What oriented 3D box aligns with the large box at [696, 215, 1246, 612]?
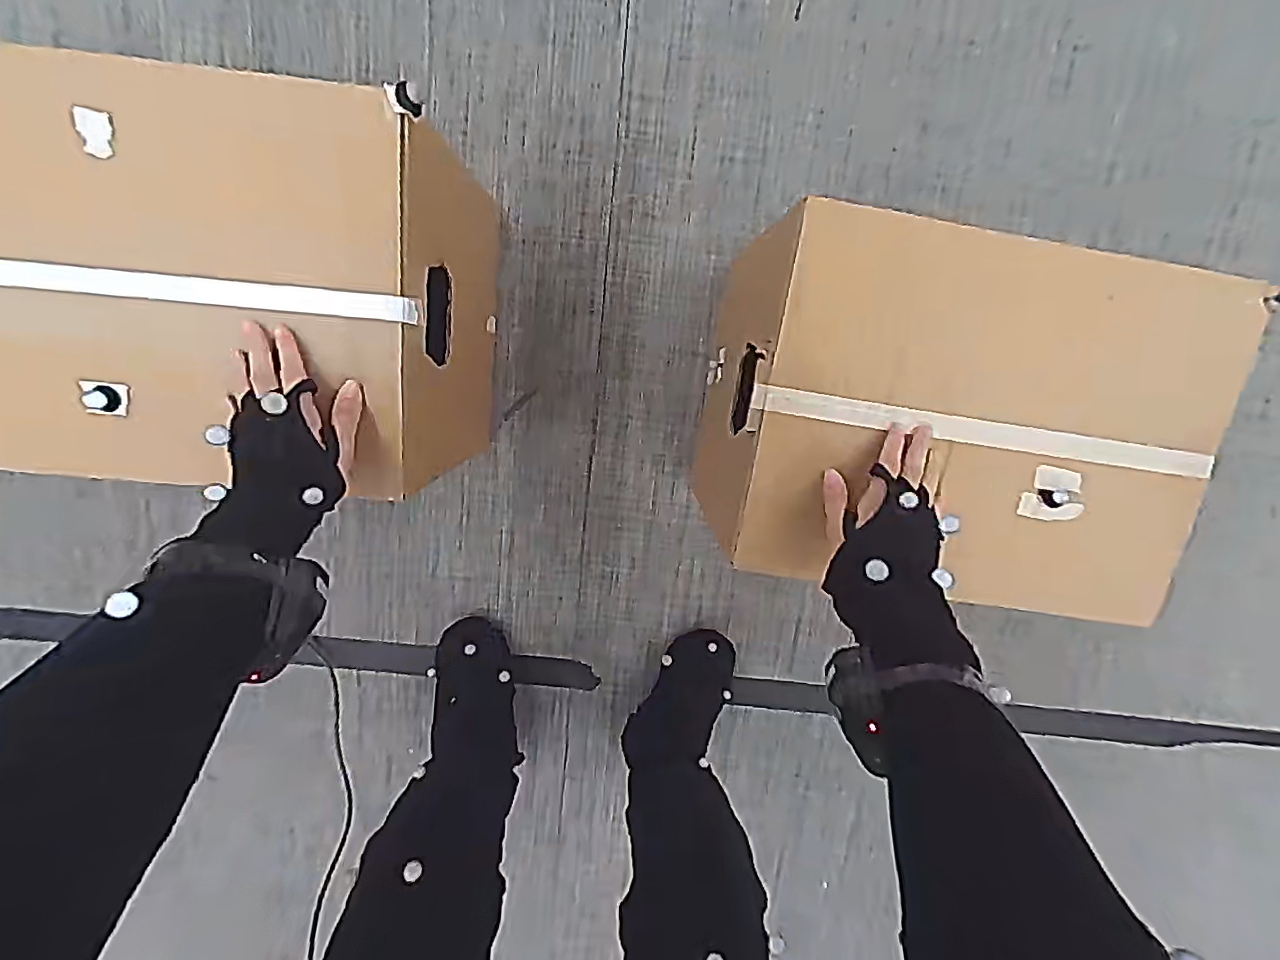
[{"bbox_3d":[0.301,-0.074,0.627,0.408,0.320,0.320,8,102,-4],"label":"large box"}]
